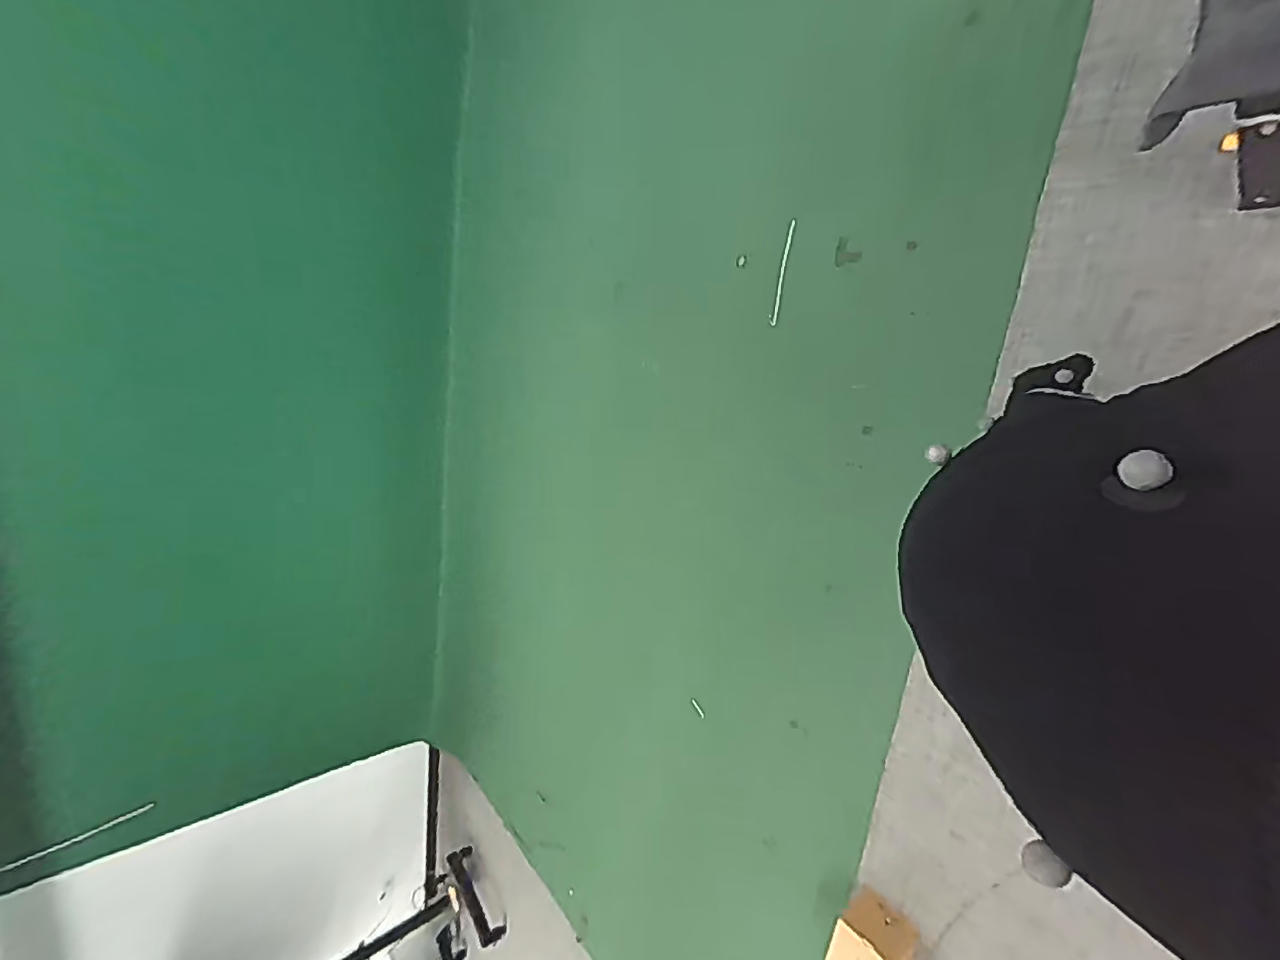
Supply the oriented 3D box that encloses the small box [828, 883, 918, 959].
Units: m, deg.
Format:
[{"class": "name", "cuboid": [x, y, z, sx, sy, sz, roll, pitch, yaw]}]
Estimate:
[{"class": "small box", "cuboid": [0.671, 1.325, 1.553, 0.168, 0.176, 0.179, 22, 109, 44]}]
